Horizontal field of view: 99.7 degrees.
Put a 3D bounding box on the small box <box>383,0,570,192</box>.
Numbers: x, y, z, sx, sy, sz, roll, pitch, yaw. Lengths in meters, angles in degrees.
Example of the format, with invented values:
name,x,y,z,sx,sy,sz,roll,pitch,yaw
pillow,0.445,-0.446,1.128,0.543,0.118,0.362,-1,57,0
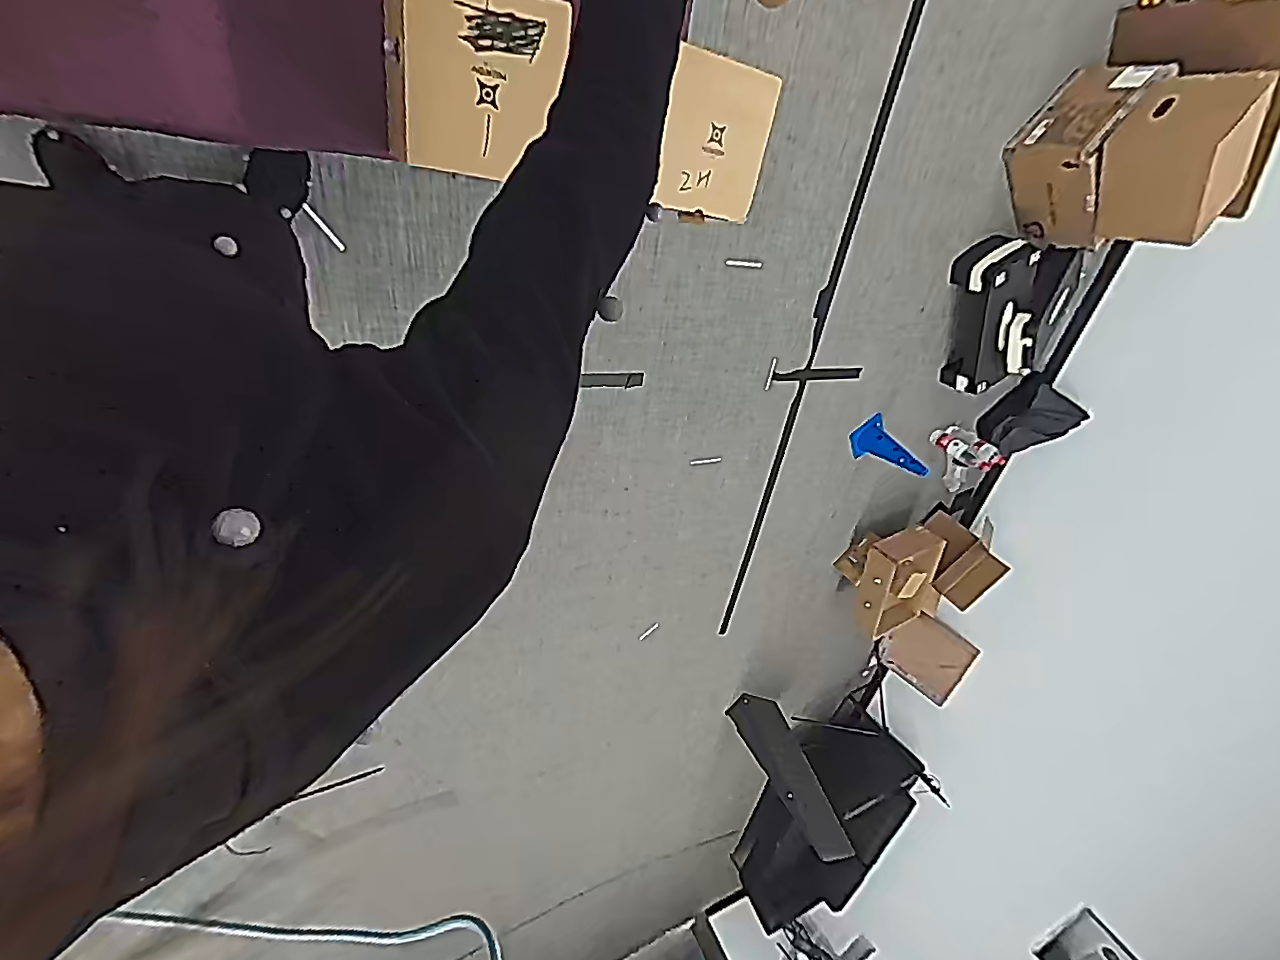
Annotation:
name,x,y,z,sx,sy,sz,roll,pitch,yaw
small box,-0.193,-0.449,0.618,0.168,0.176,0.179,-6,124,-28

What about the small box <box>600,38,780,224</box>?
name,x,y,z,sx,sy,sz,roll,pitch,yaw
small box,0.057,-0.474,0.751,0.168,0.176,0.179,-5,123,-28
